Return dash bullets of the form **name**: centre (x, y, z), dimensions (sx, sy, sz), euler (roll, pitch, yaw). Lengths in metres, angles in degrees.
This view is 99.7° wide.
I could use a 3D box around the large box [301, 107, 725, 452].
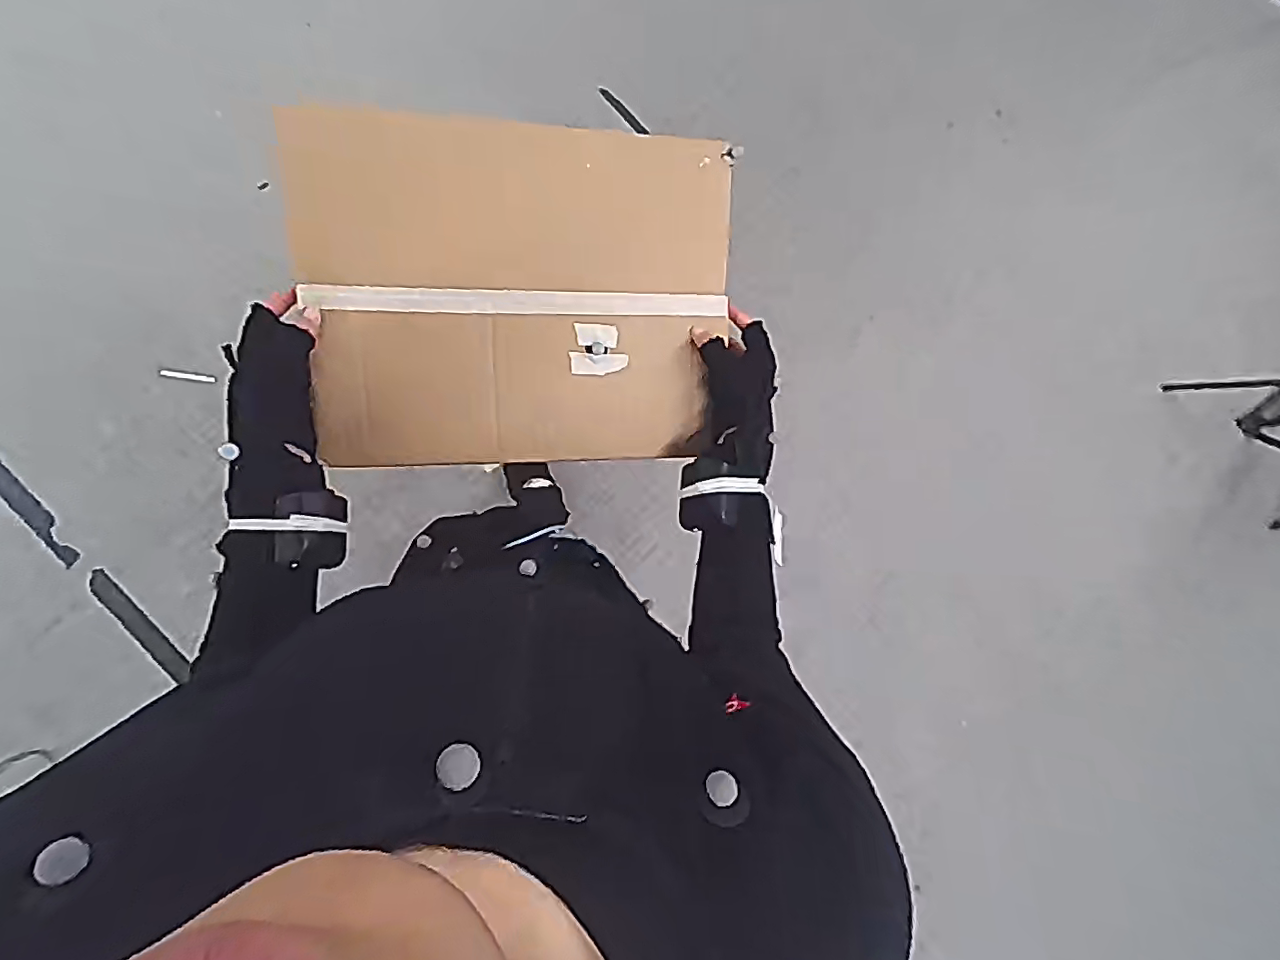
- **large box**: centre (-0.137, -0.215, 0.686), dimensions (0.408, 0.320, 0.320), euler (-2, 102, -12)
